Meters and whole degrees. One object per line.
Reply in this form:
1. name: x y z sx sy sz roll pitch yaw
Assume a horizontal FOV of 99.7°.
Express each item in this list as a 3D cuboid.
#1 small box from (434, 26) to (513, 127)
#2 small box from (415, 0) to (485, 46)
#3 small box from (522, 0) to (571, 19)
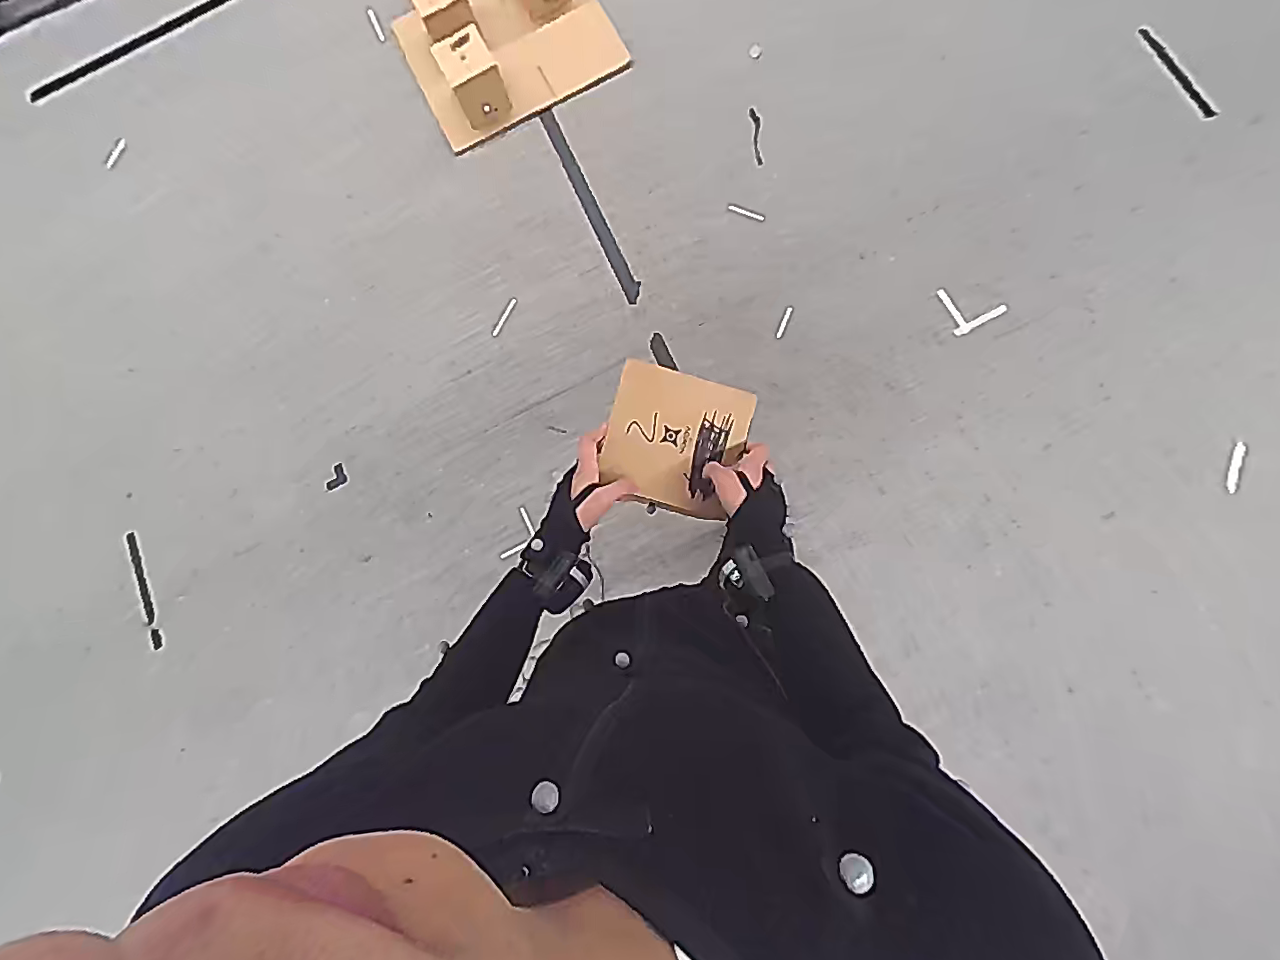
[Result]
1. small box: -0.552 -1.340 1.807 0.168 0.176 0.179 -28 81 1
2. small box: -0.661 -1.600 1.853 0.168 0.176 0.179 -27 81 2
3. small box: -0.352 -1.751 1.853 0.168 0.176 0.179 -30 80 0
